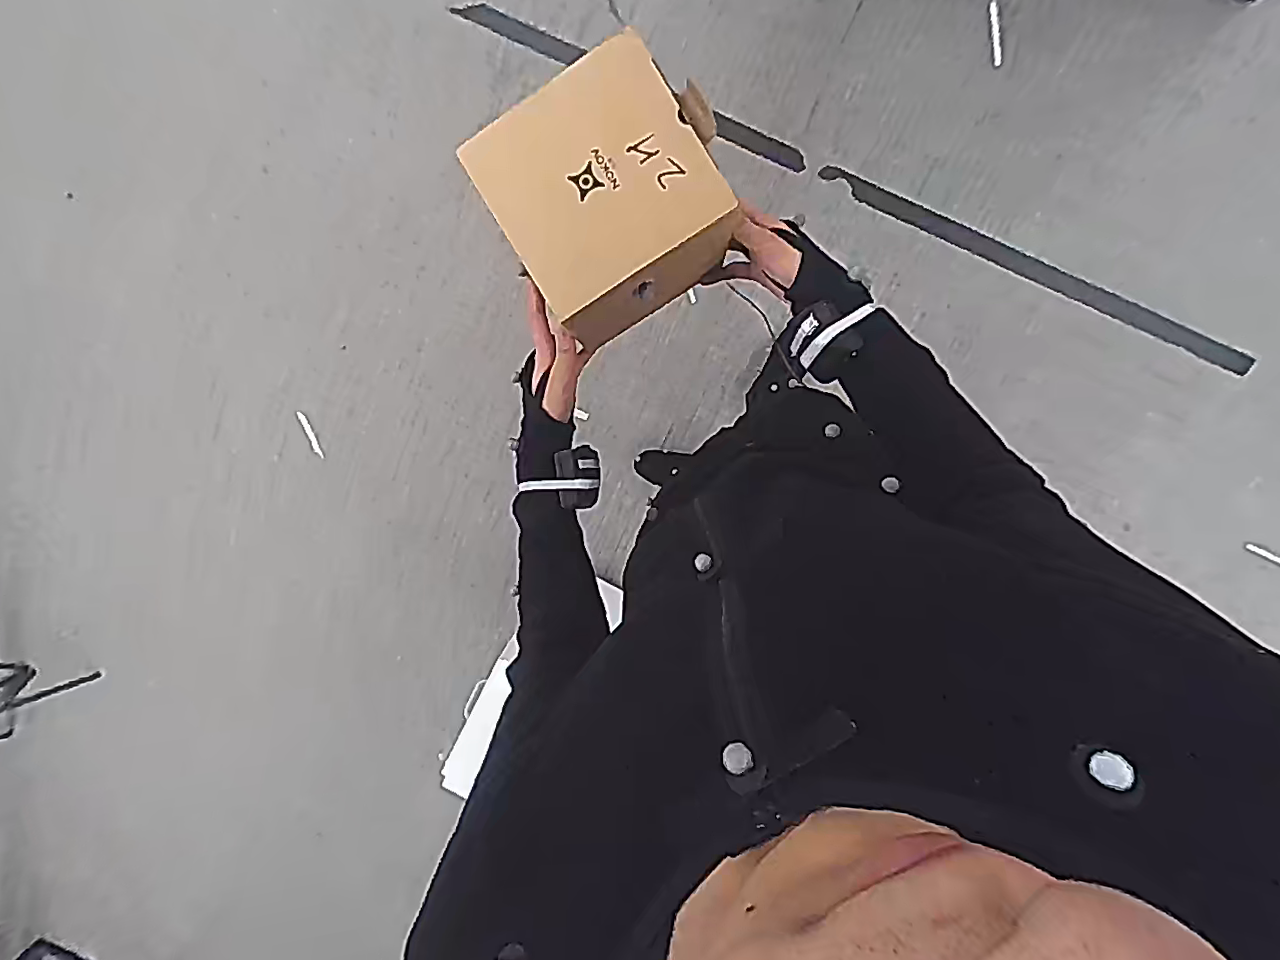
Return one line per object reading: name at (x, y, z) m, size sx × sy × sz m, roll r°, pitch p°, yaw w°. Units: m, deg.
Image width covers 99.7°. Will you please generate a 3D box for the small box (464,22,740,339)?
small box at (-0.027, -0.256, 0.516) m, size 0.179 × 0.176 × 0.168 m, roll -31°, pitch 93°, yaw 5°
